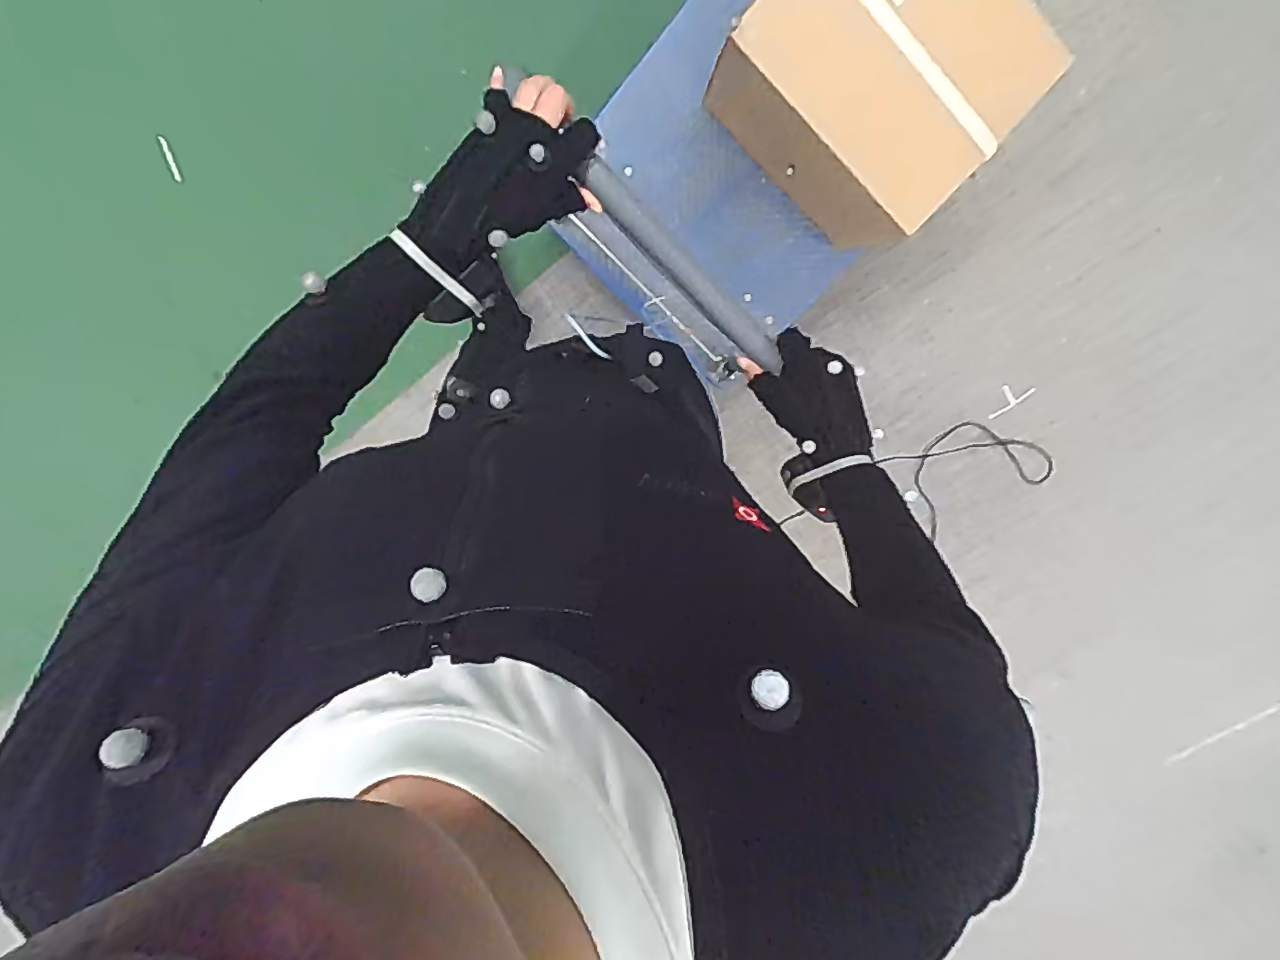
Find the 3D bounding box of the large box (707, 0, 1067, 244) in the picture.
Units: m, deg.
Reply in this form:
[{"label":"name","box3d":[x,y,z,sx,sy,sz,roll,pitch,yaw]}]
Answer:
[{"label":"large box","box3d":[0.371,-0.668,0.913,0.408,0.320,0.320,40,104,-13]}]
